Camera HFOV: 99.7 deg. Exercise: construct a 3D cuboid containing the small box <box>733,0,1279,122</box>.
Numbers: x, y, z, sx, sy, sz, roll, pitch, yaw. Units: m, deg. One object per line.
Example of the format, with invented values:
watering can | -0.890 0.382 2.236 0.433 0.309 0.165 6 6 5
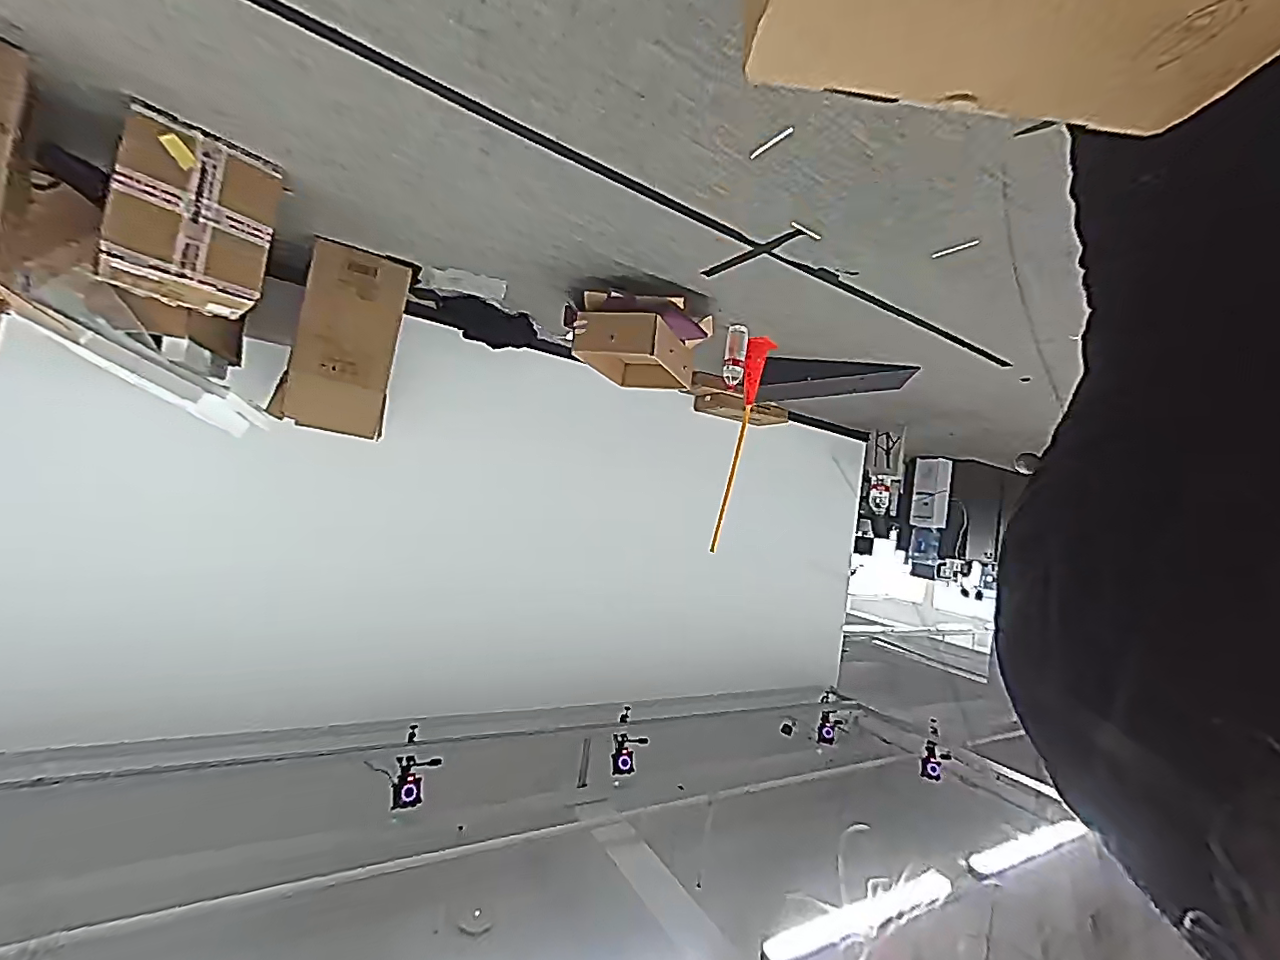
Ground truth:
small box | 0.127 -0.234 0.128 0.168 0.176 0.179 3 174 -5
